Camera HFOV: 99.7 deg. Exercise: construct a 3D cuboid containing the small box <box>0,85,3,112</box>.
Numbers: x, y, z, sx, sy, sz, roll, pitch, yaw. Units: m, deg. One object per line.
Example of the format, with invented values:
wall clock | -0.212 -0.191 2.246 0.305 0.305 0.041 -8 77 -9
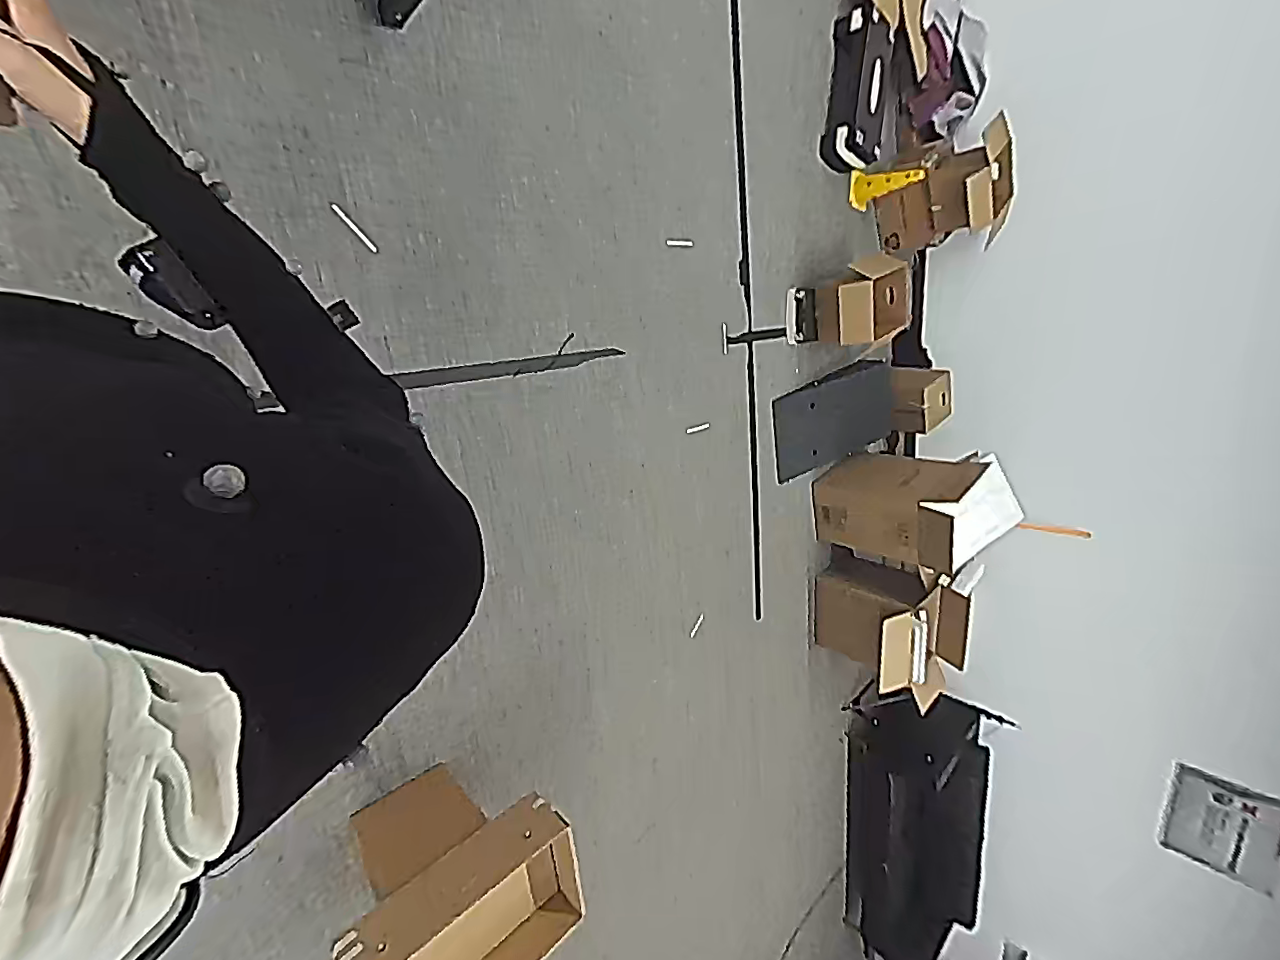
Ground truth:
small box | -0.543 -0.336 0.325 0.179 0.176 0.168 -23 110 -41
